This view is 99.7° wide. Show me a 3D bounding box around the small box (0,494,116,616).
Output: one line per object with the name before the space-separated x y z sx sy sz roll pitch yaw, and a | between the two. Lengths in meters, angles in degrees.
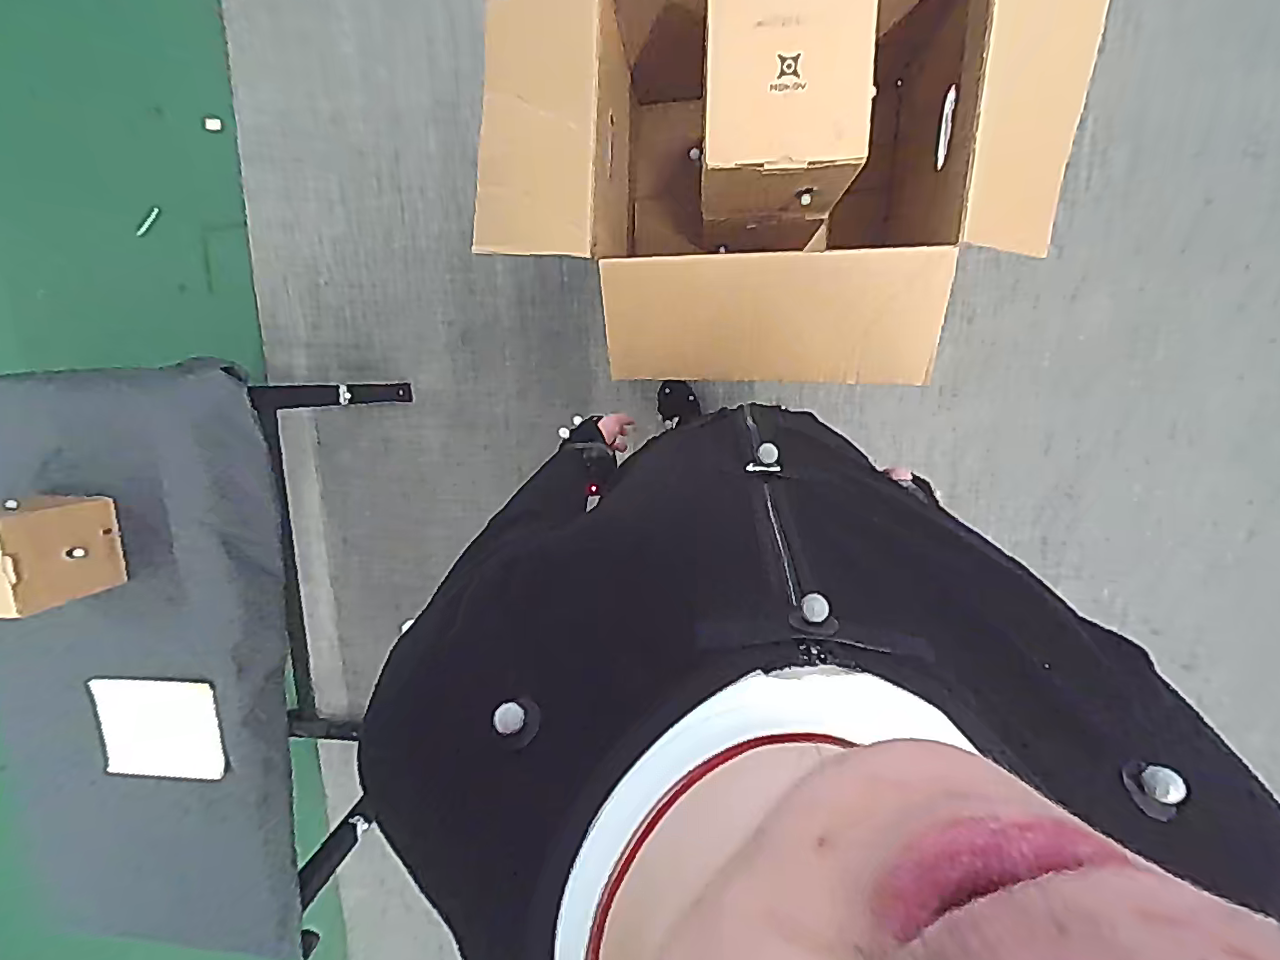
small box | -1.055 0.119 0.925 0.179 0.176 0.168 1 100 6
